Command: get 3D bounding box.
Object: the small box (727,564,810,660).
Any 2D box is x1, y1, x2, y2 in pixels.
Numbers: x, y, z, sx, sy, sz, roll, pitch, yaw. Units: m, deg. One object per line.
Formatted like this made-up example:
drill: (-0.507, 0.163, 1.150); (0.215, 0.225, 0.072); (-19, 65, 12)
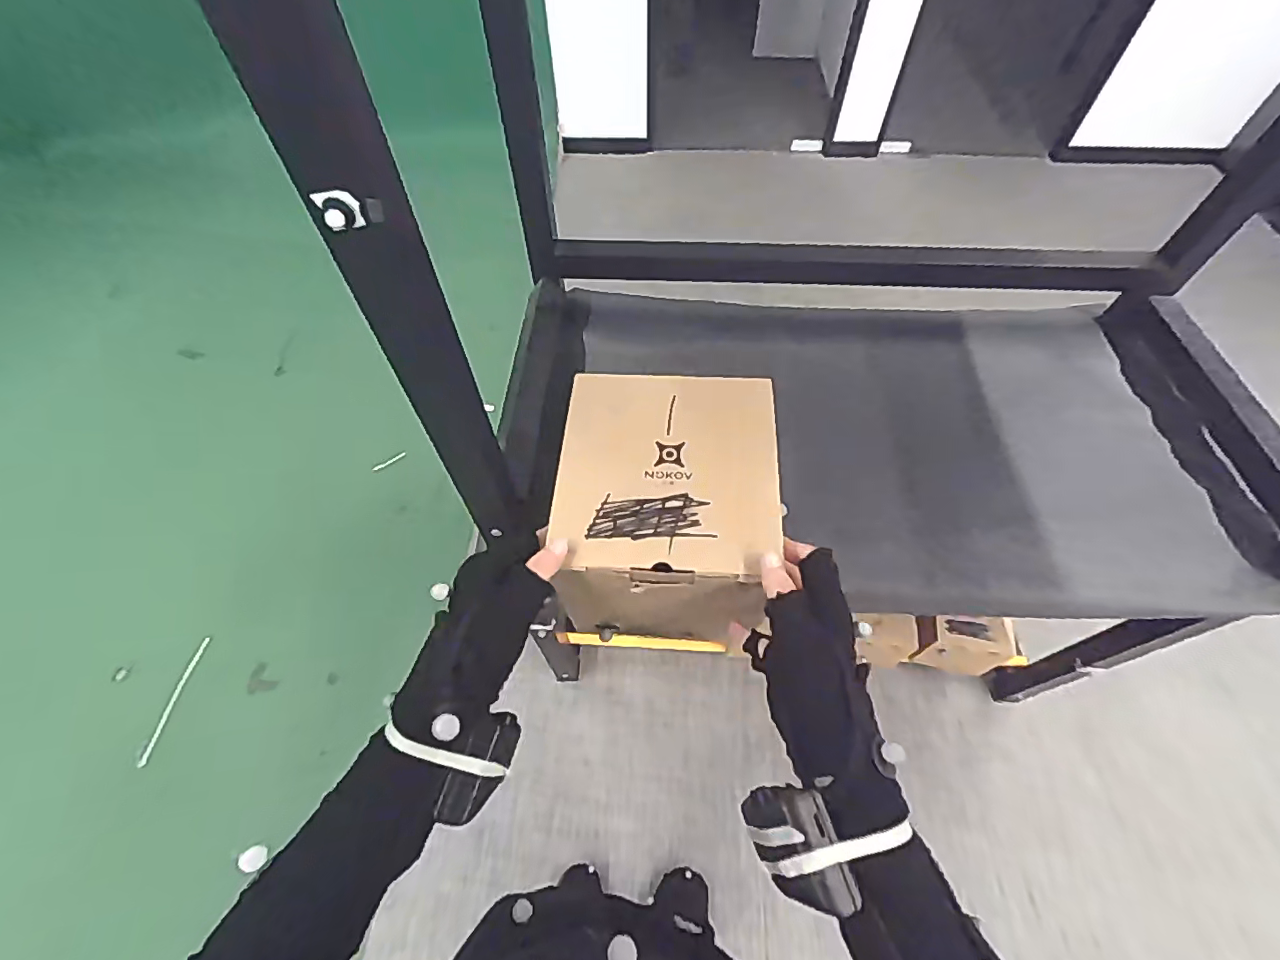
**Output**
small box: (0.301, 0.322, 1.307); (0.168, 0.176, 0.179); (4, 59, 3)
